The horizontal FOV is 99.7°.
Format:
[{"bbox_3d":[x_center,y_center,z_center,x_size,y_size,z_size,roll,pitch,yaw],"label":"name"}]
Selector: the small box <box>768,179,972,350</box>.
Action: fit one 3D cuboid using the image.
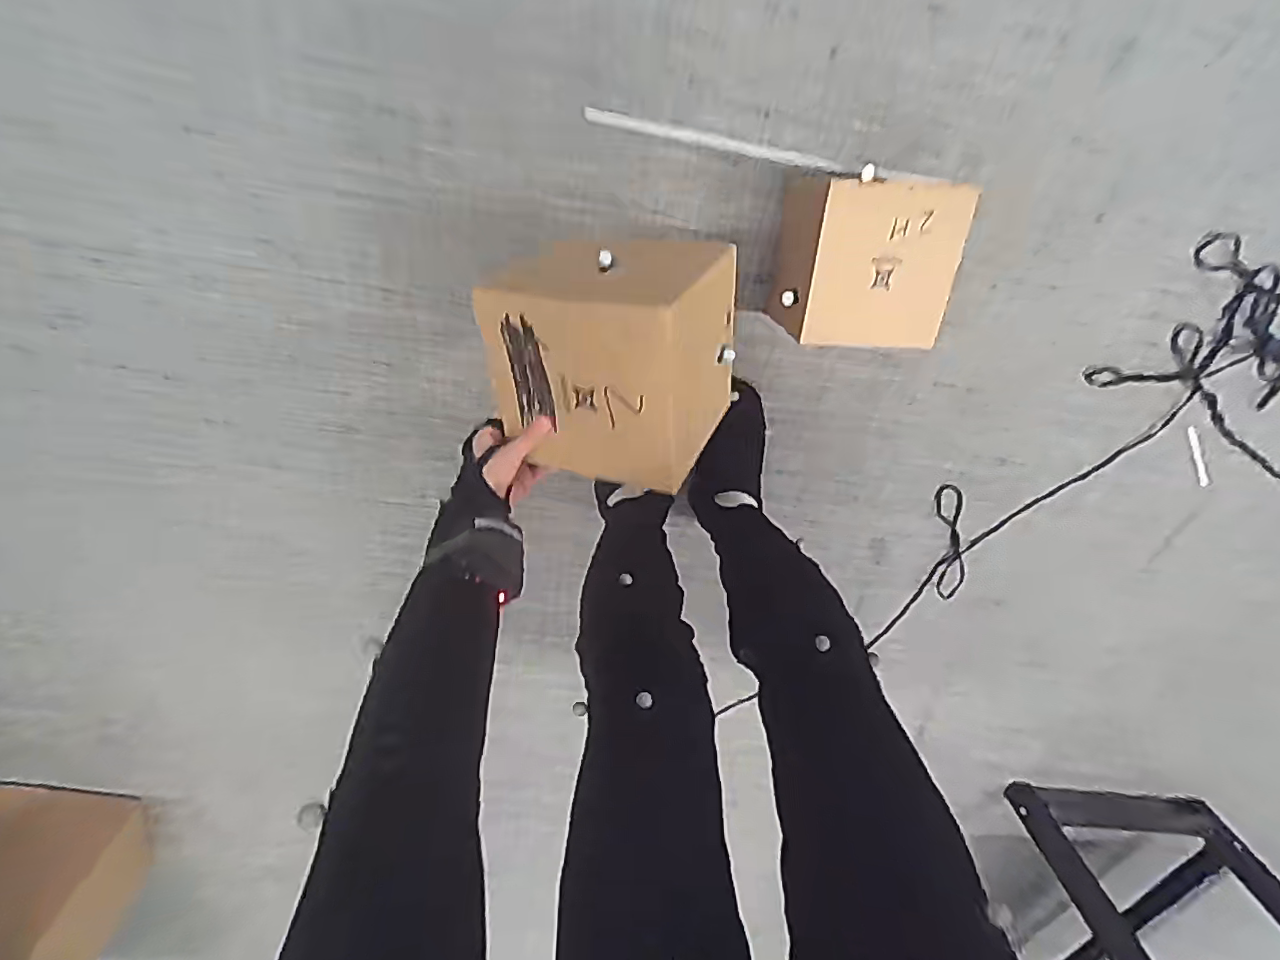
[{"bbox_3d":[0.268,-0.275,0.683,0.168,0.176,0.179,2,118,-3],"label":"small box"}]
